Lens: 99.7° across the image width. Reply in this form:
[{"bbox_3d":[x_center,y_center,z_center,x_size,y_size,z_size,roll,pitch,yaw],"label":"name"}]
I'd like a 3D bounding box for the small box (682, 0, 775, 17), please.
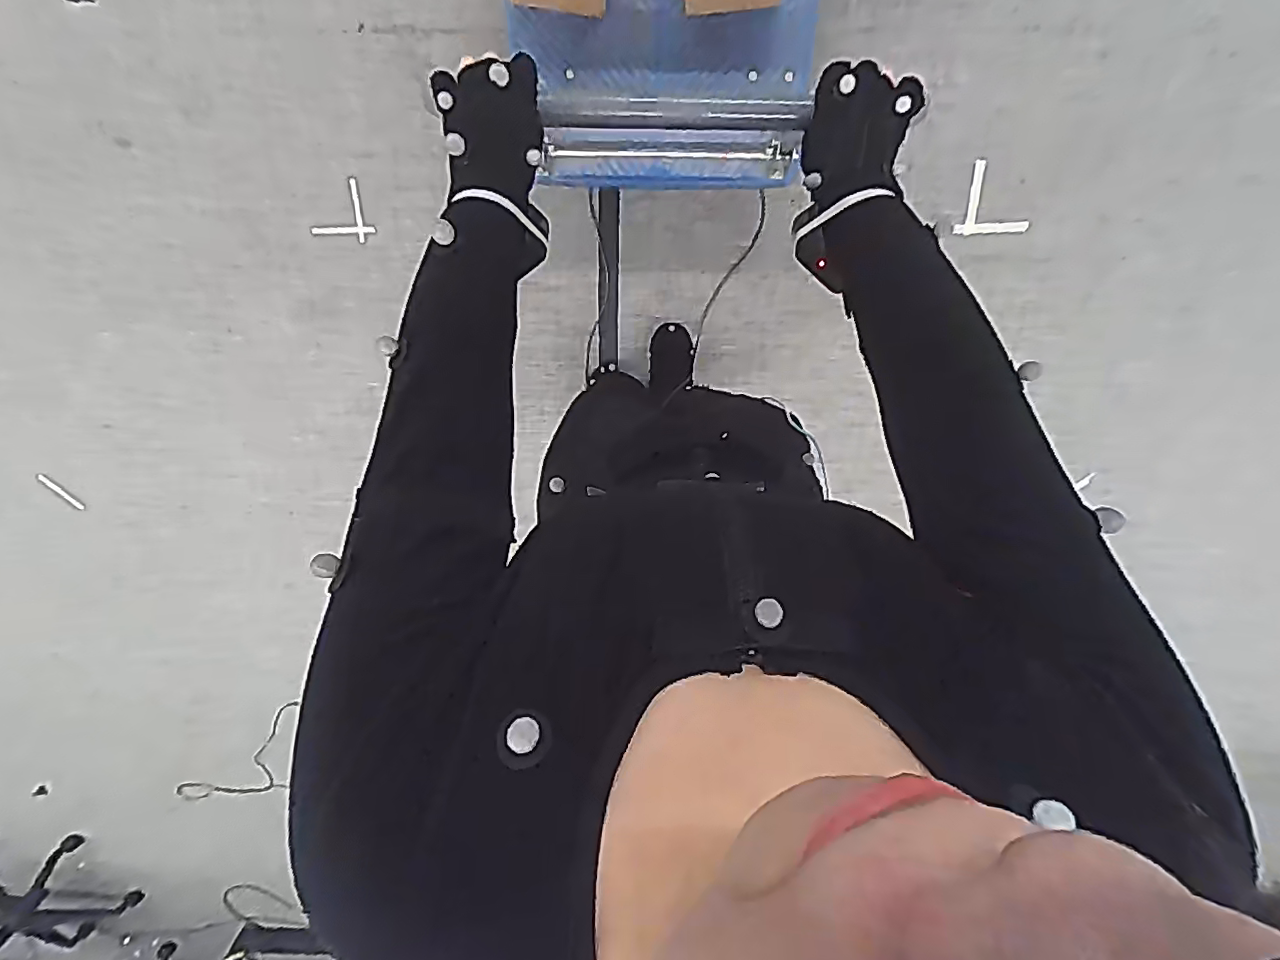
[{"bbox_3d":[0.155,-0.901,0.888,0.179,0.176,0.168,-4,113,3],"label":"small box"}]

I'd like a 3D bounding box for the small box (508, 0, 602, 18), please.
[{"bbox_3d":[-0.150,-0.904,0.893,0.179,0.176,0.168,6,112,-3],"label":"small box"}]
